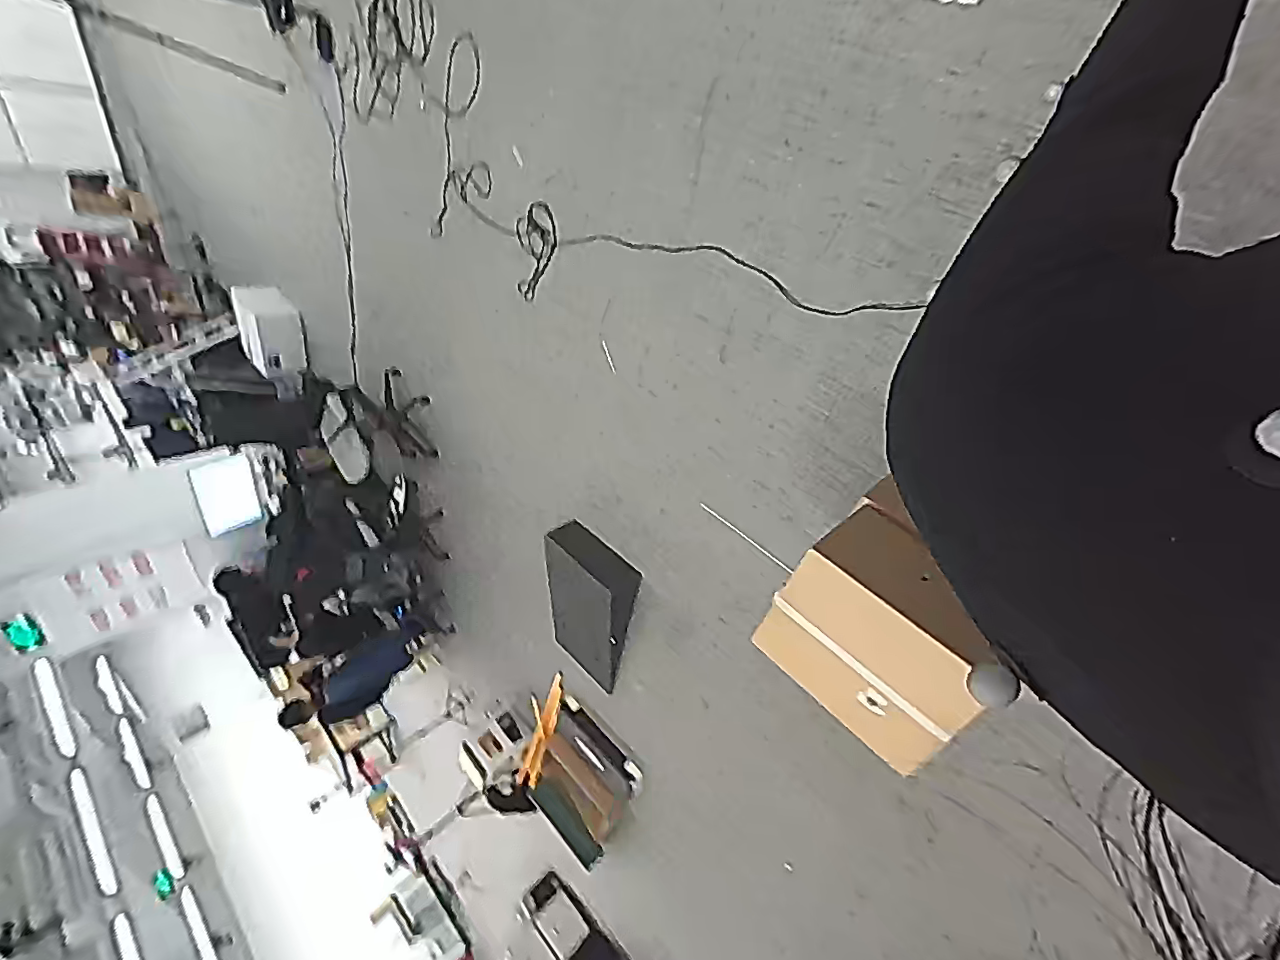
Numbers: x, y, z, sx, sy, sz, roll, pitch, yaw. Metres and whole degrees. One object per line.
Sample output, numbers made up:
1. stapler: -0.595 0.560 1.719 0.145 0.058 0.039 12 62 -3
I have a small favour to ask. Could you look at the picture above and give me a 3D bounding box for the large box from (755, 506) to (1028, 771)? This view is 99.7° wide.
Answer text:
1. large box: 0.543 0.322 1.197 0.408 0.320 0.320 39 128 26
